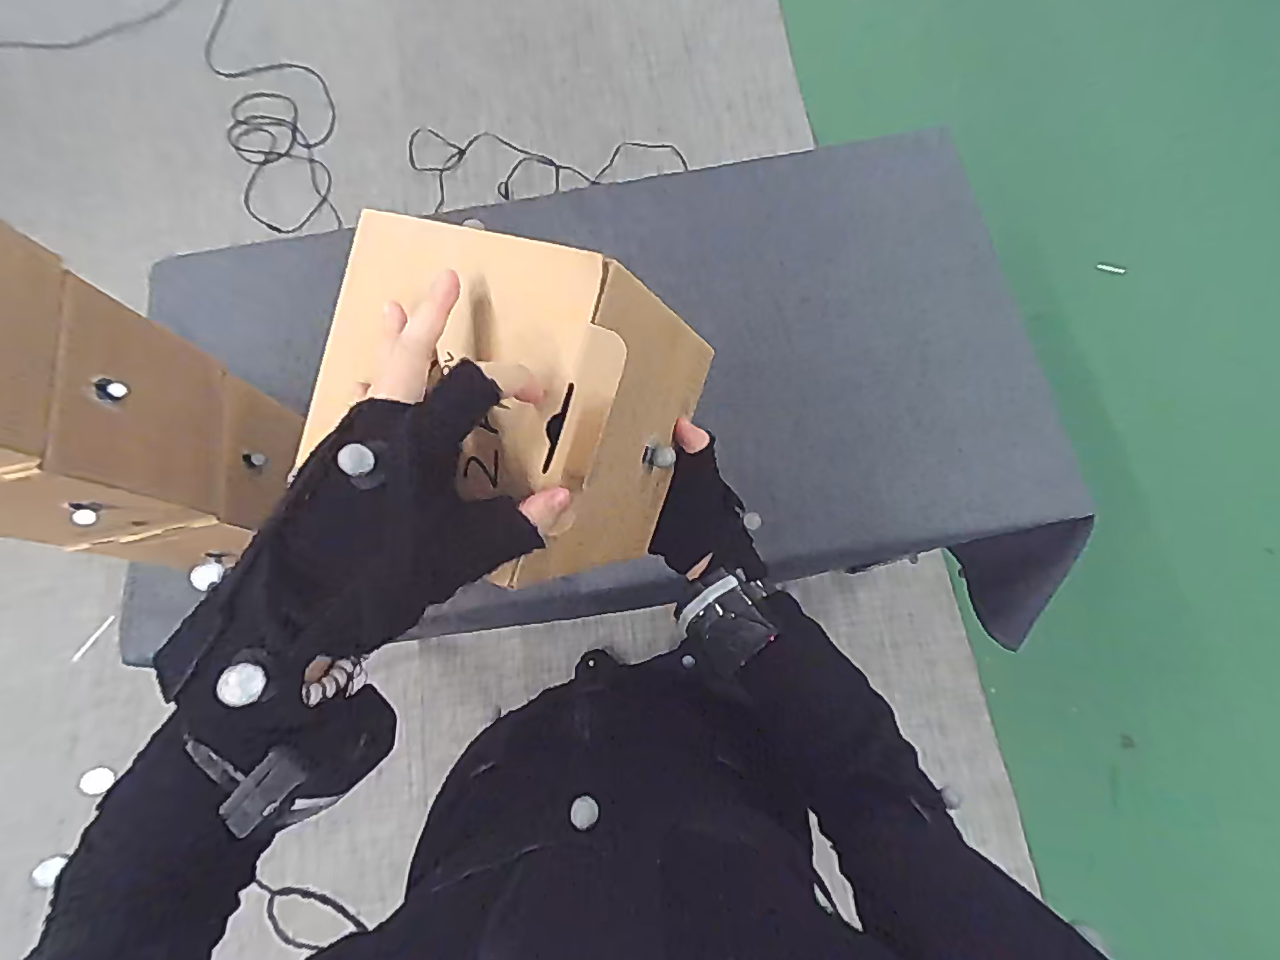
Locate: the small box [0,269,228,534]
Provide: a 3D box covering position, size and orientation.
[{"bbox_3d":[-0.516,-0.053,0.489,0.168,0.176,0.179,-10,74,0],"label":"small box"}]

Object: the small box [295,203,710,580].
[{"bbox_3d":[-0.076,-0.052,0.359,0.179,0.176,0.168,22,97,22],"label":"small box"}]

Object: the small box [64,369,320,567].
[{"bbox_3d":[-0.509,-0.005,0.644,0.168,0.176,0.179,-11,74,0],"label":"small box"}]

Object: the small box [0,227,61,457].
[{"bbox_3d":[-0.526,-0.106,0.334,0.168,0.176,0.179,-11,73,-1],"label":"small box"}]
